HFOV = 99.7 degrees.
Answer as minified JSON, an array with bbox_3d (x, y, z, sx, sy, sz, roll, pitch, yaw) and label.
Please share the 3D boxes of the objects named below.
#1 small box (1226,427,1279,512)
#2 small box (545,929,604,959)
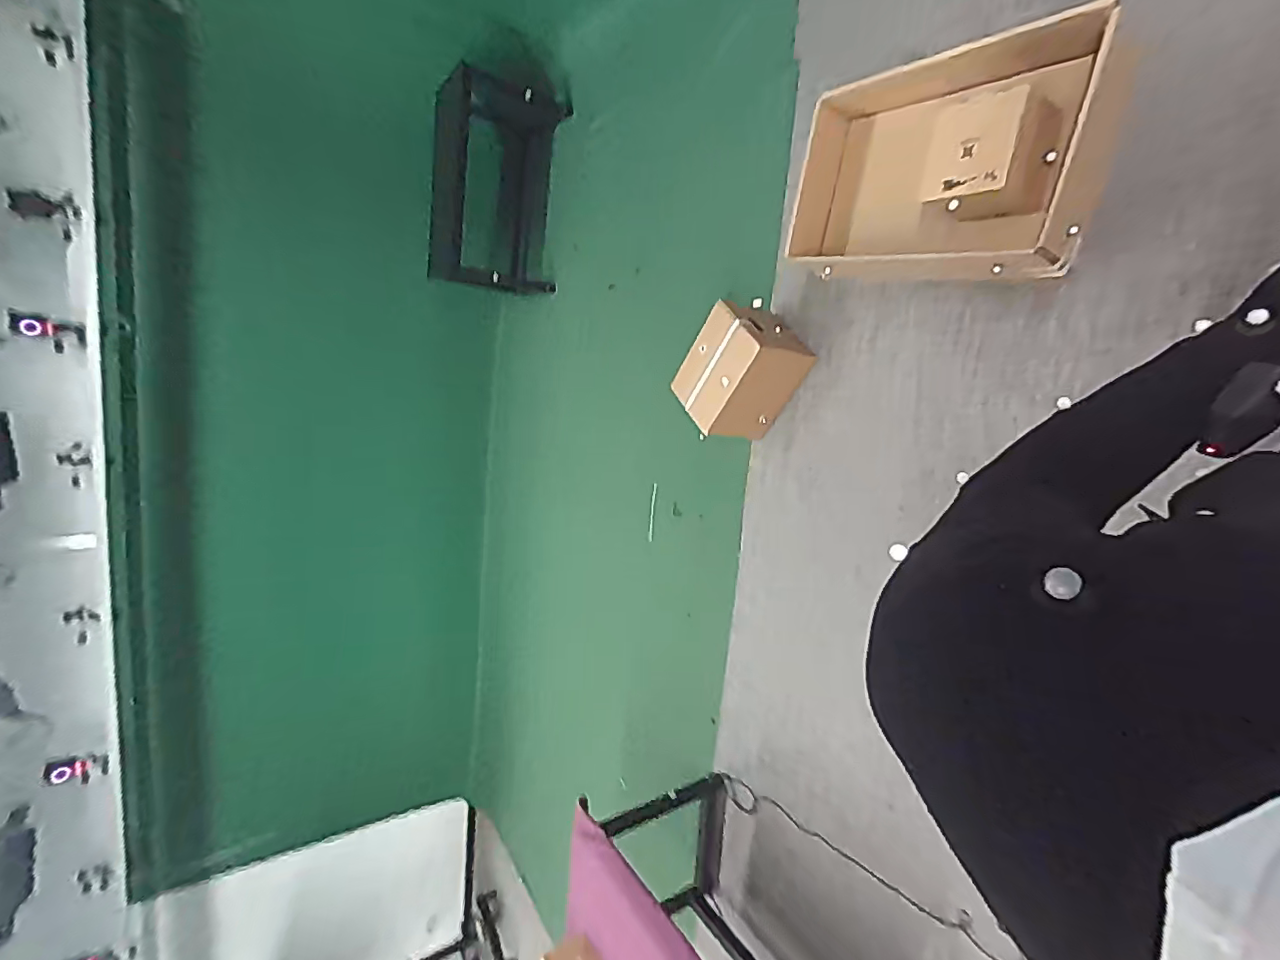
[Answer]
[{"bbox_3d":[1.291,-0.024,1.025,0.179,0.176,0.168,-47,48,41],"label":"small box"},{"bbox_3d":[-0.229,1.765,1.915,0.168,0.176,0.179,24,110,51],"label":"small box"}]
